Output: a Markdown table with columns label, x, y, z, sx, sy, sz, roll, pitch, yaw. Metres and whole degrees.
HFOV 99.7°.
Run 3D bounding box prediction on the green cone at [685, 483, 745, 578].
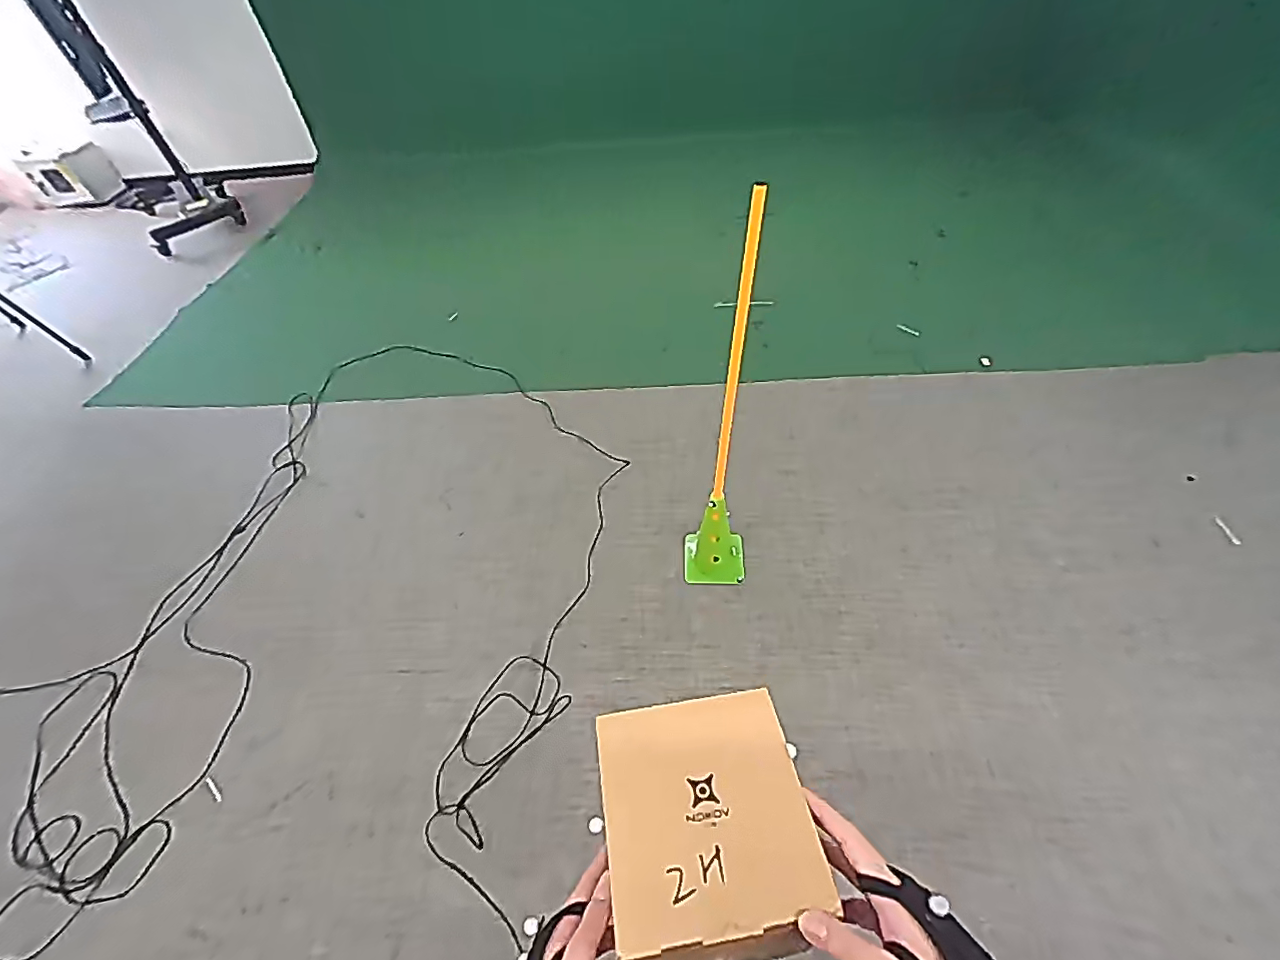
| label | x | y | z | sx | sy | sz | roll | pitch | yaw |
| --- | --- | --- | --- | --- | --- | --- | --- | --- | --- |
| green cone | 0.240 | 0.137 | 1.731 | 0.202 | 0.368 | 0.200 | -1 | 49 | 6 |
